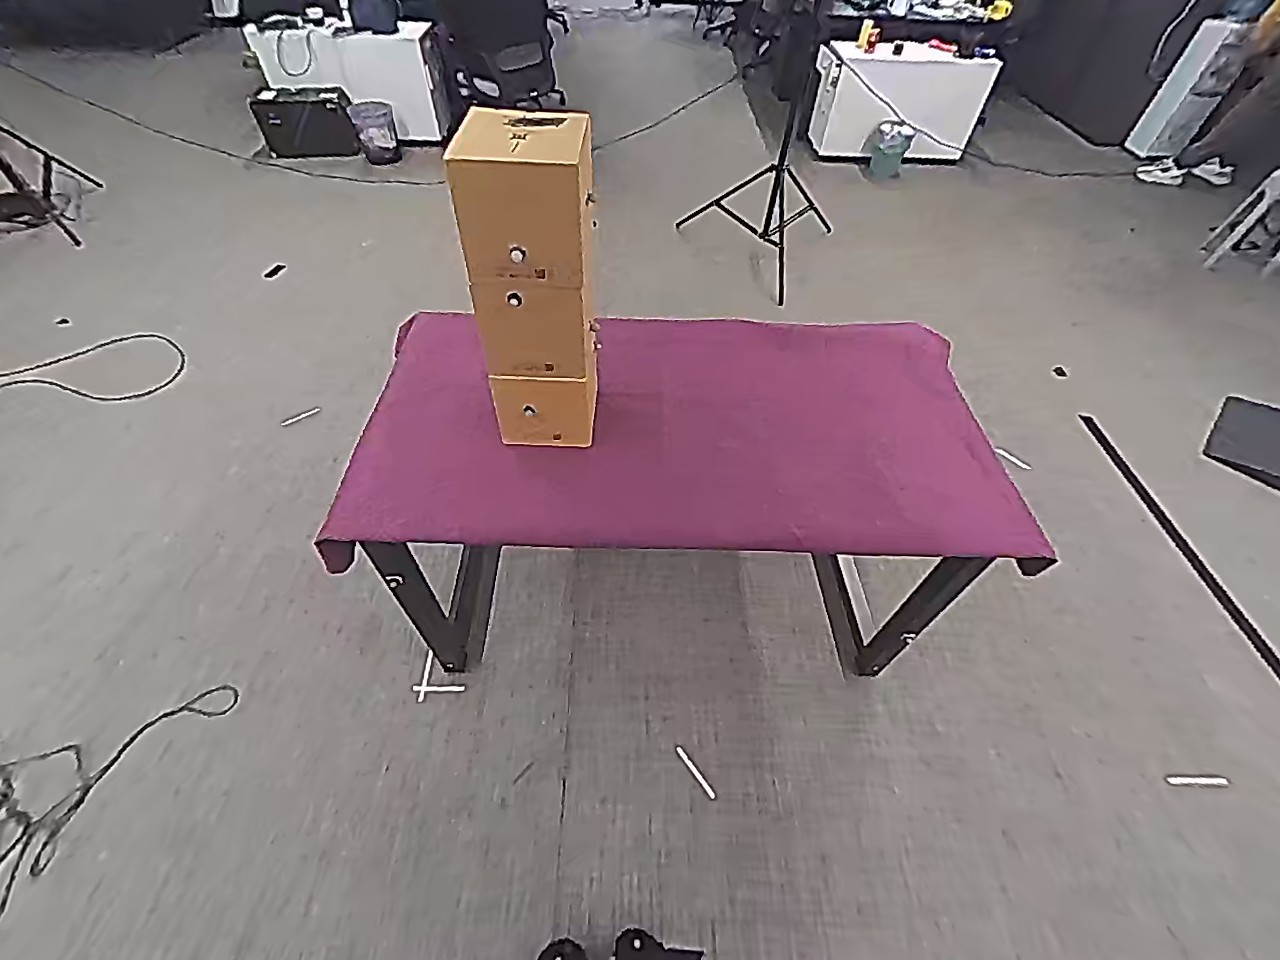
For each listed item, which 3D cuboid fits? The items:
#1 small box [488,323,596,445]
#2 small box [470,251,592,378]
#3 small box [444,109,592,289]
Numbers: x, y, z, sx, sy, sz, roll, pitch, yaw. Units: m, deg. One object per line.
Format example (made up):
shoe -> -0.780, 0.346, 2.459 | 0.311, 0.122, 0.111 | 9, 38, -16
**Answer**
small box -> -0.172, -0.181, 1.012 | 0.168, 0.176, 0.179 | 2, 50, -1
small box -> -0.167, -0.290, 0.890 | 0.168, 0.176, 0.179 | 1, 50, -1
small box -> -0.157, -0.394, 0.762 | 0.168, 0.176, 0.179 | 2, 51, -1
